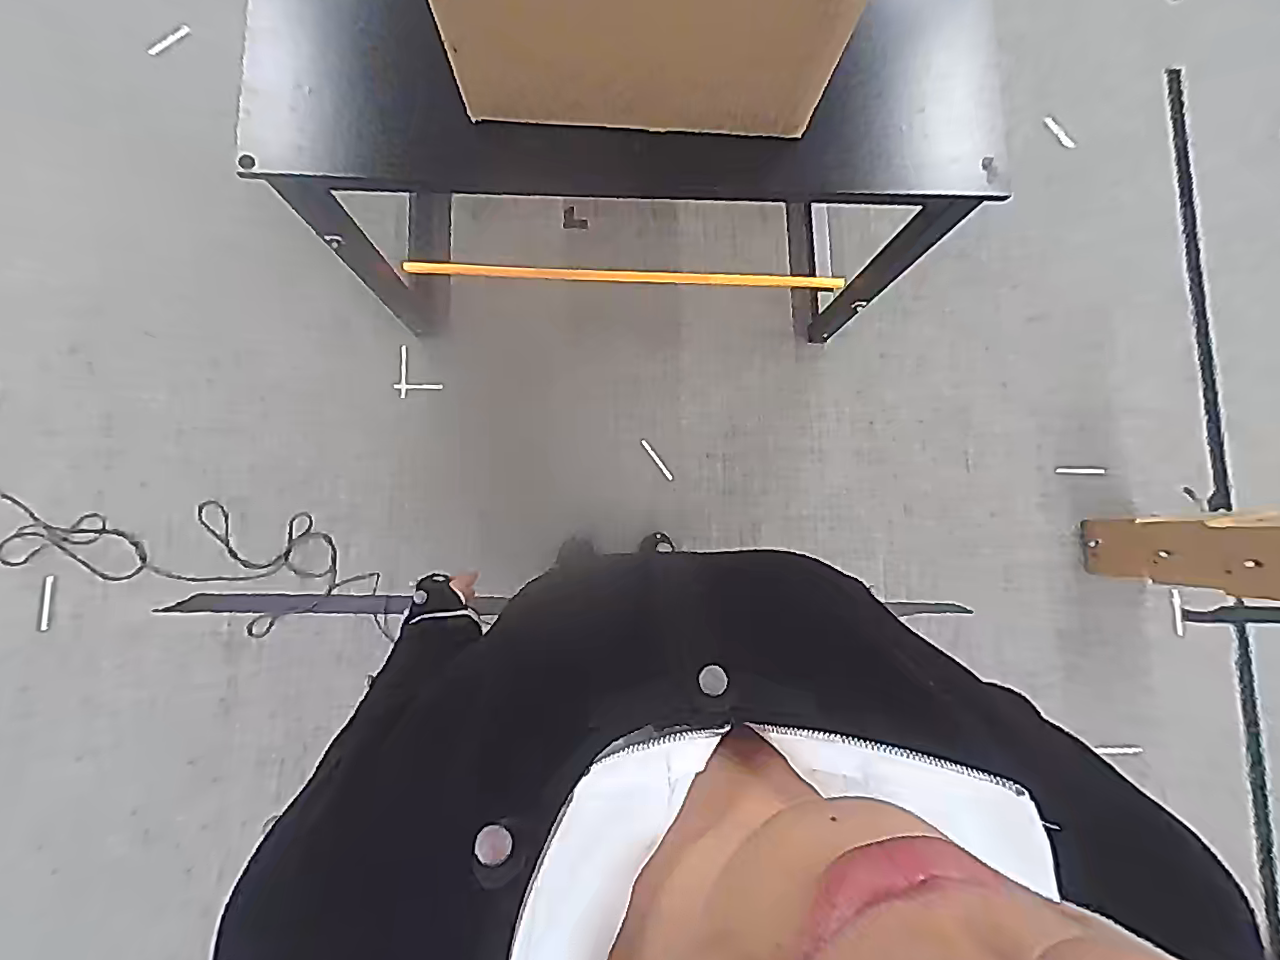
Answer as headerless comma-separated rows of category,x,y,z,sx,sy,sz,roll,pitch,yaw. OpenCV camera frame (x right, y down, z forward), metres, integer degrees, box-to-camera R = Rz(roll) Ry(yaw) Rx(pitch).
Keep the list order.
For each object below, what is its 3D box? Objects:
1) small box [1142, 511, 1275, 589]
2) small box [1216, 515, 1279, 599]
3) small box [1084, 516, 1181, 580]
small box,1.424,0.171,1.347,0.179,0.176,0.168,-8,83,-4
small box,1.431,0.166,1.183,0.179,0.176,0.168,-10,84,-4
small box,1.402,0.186,1.510,0.179,0.176,0.168,-3,83,-3
